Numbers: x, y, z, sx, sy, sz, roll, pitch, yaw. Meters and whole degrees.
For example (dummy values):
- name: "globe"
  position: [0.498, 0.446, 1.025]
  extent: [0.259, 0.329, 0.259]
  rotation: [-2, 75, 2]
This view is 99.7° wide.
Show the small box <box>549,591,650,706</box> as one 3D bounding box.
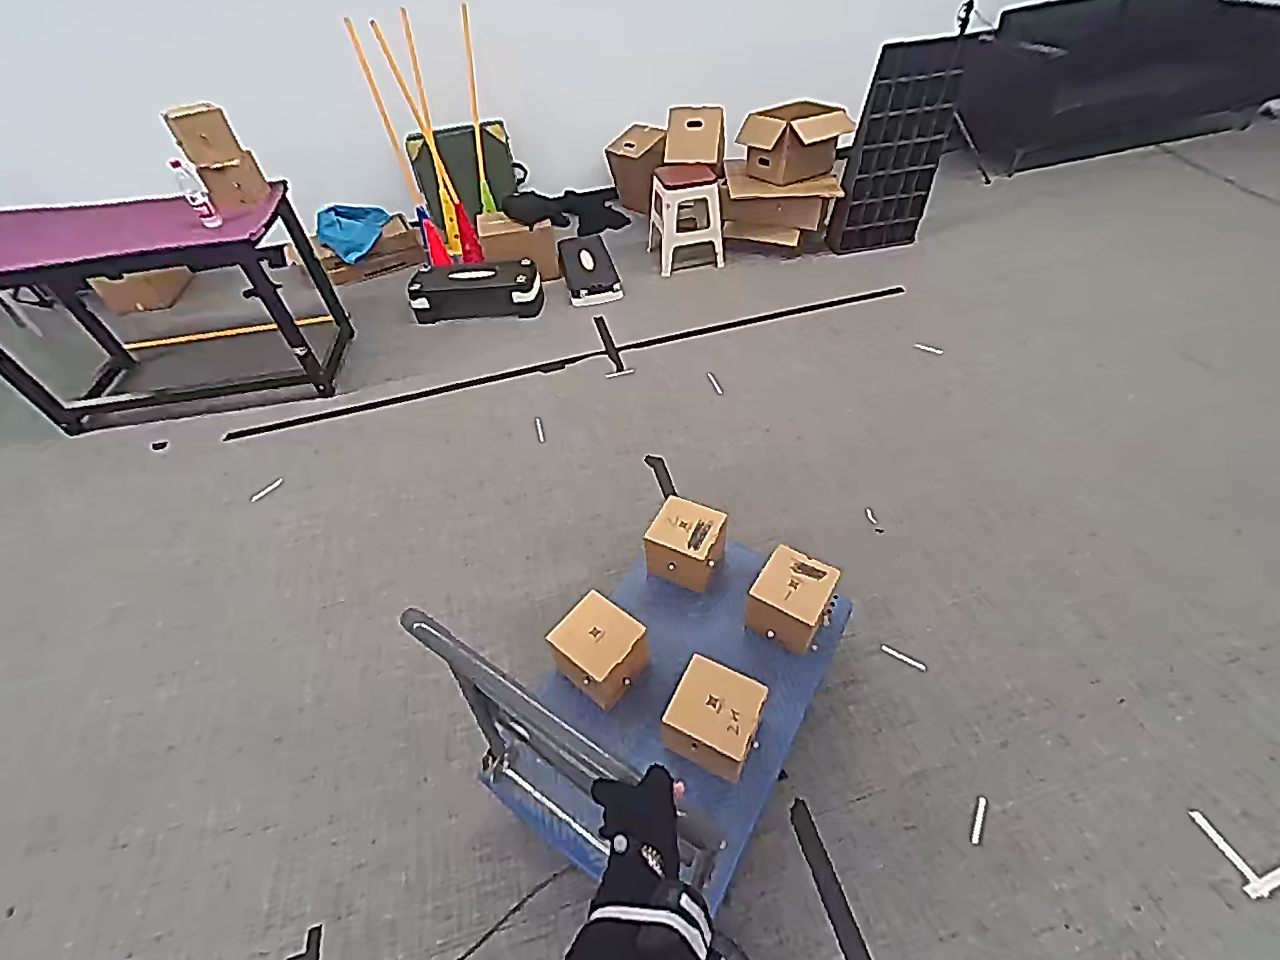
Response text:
- name: "small box"
  position: [-0.091, 0.409, 1.305]
  extent: [0.179, 0.176, 0.168]
  rotation: [30, 56, 26]

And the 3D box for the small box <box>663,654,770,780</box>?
- name: "small box"
  position: [0.166, 0.520, 1.178]
  extent: [0.179, 0.176, 0.168]
  rotation: [20, 52, 22]

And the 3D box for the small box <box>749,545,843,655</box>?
- name: "small box"
  position: [0.386, 0.302, 1.360]
  extent: [0.168, 0.176, 0.179]
  rotation: [25, 55, 26]
